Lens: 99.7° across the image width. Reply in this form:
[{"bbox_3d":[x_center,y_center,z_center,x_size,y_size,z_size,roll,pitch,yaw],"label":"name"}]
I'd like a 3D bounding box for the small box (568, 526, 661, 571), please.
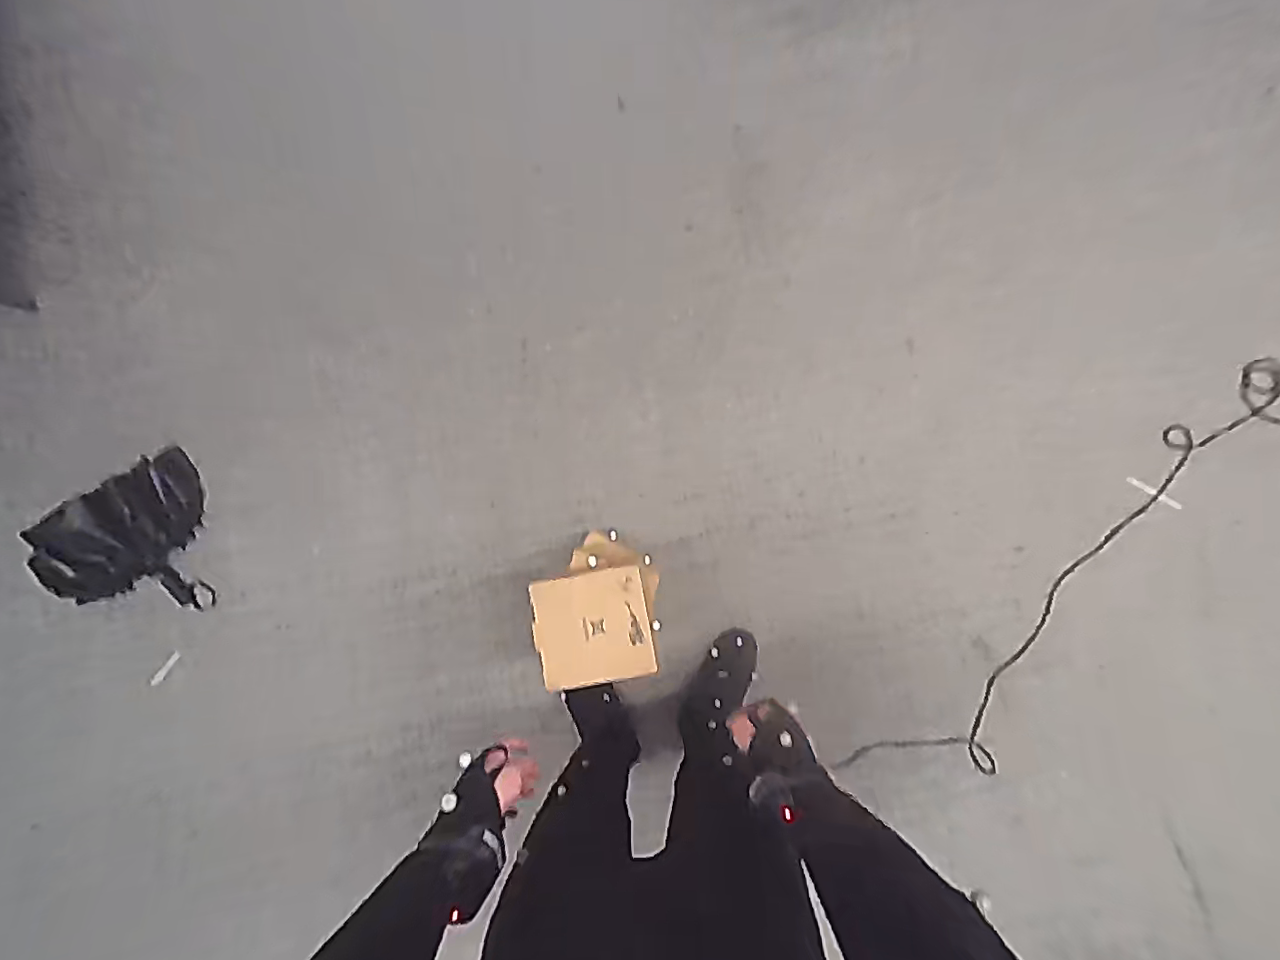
[{"bbox_3d":[-0.068,0.218,1.228,0.179,0.176,0.168,30,88,3],"label":"small box"}]

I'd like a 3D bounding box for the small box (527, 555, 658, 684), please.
[{"bbox_3d":[-0.070,0.223,0.899,0.179,0.176,0.168,-10,86,3],"label":"small box"}]

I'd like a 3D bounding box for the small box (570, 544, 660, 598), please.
[{"bbox_3d":[-0.064,0.232,1.062,0.168,0.176,0.179,17,88,4],"label":"small box"}]
